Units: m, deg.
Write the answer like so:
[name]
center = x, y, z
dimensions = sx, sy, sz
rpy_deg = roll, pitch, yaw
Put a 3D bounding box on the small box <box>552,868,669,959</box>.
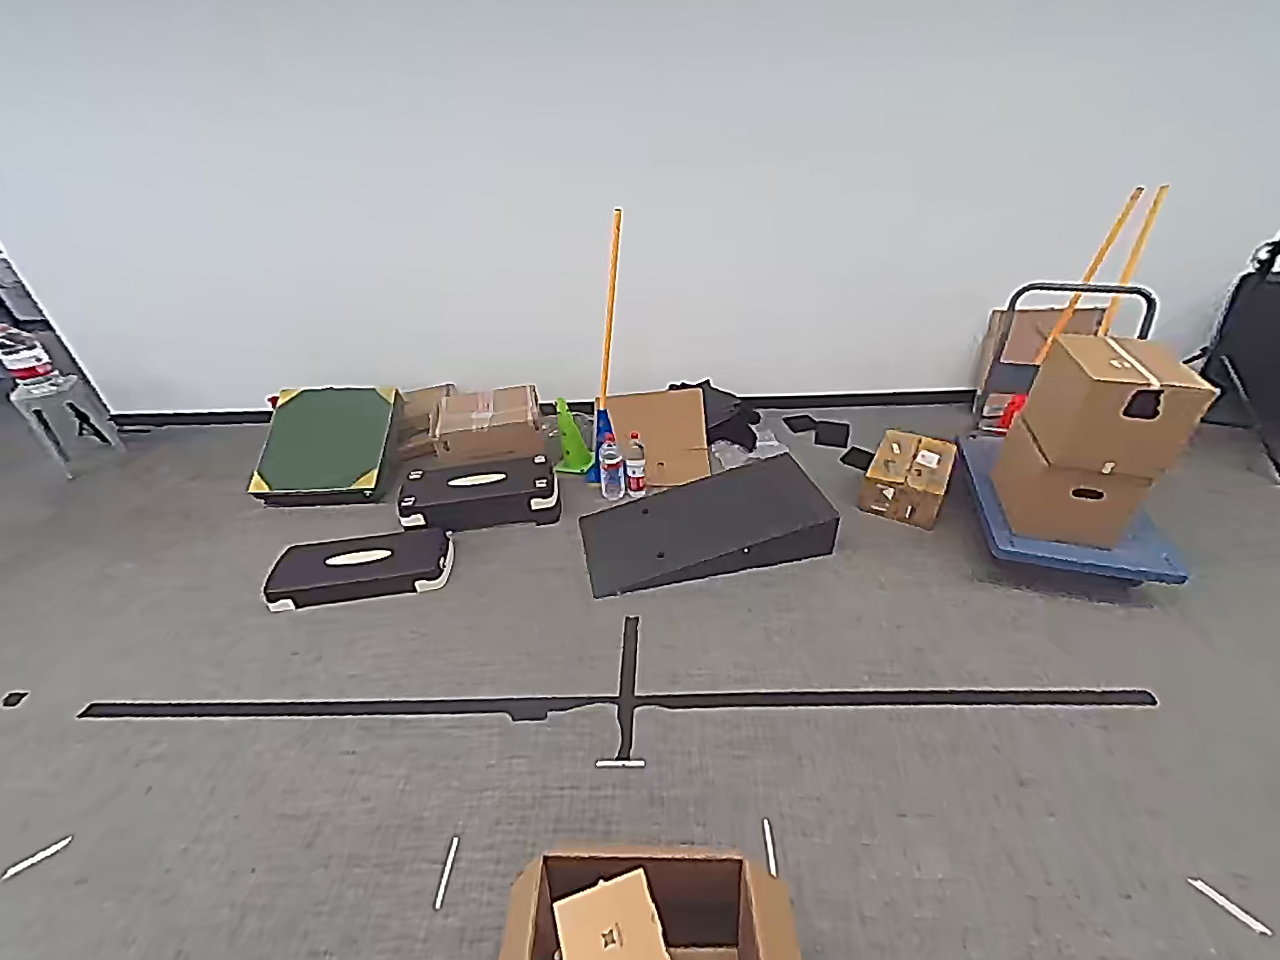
[small box]
center = -0.053, 0.864, 0.990
dimensions = 0.179, 0.176, 0.168
rpy_deg = -10, 38, -17
